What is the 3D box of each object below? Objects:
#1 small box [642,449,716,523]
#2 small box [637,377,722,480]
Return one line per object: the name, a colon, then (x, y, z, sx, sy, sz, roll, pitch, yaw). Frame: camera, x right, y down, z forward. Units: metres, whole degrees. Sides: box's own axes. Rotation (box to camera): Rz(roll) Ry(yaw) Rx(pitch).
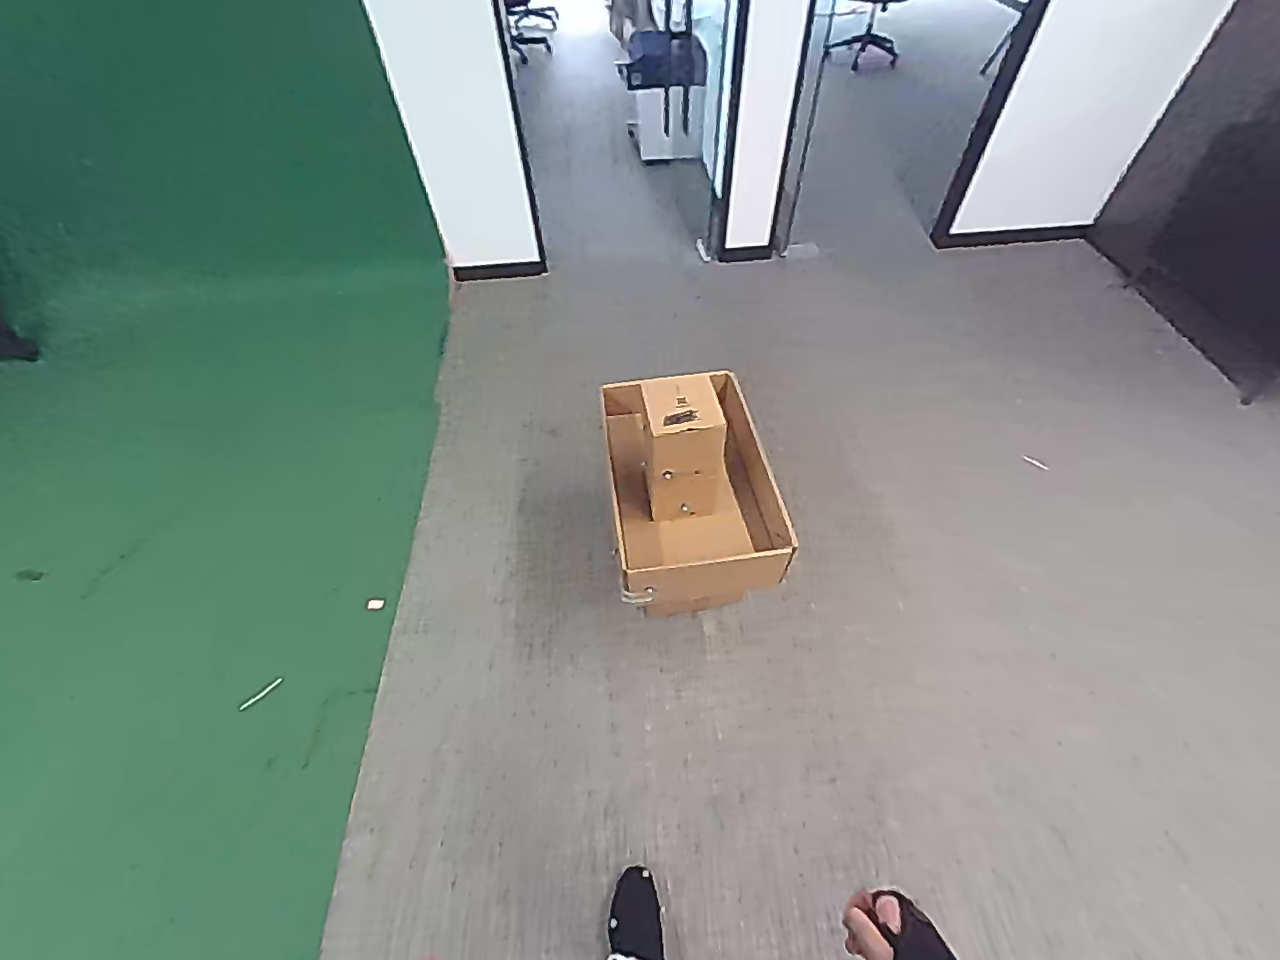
small box: (0.094, -0.012, 1.401, 0.168, 0.176, 0.179, -7, 51, -3)
small box: (0.089, -0.115, 1.273, 0.168, 0.176, 0.179, -8, 50, -5)
